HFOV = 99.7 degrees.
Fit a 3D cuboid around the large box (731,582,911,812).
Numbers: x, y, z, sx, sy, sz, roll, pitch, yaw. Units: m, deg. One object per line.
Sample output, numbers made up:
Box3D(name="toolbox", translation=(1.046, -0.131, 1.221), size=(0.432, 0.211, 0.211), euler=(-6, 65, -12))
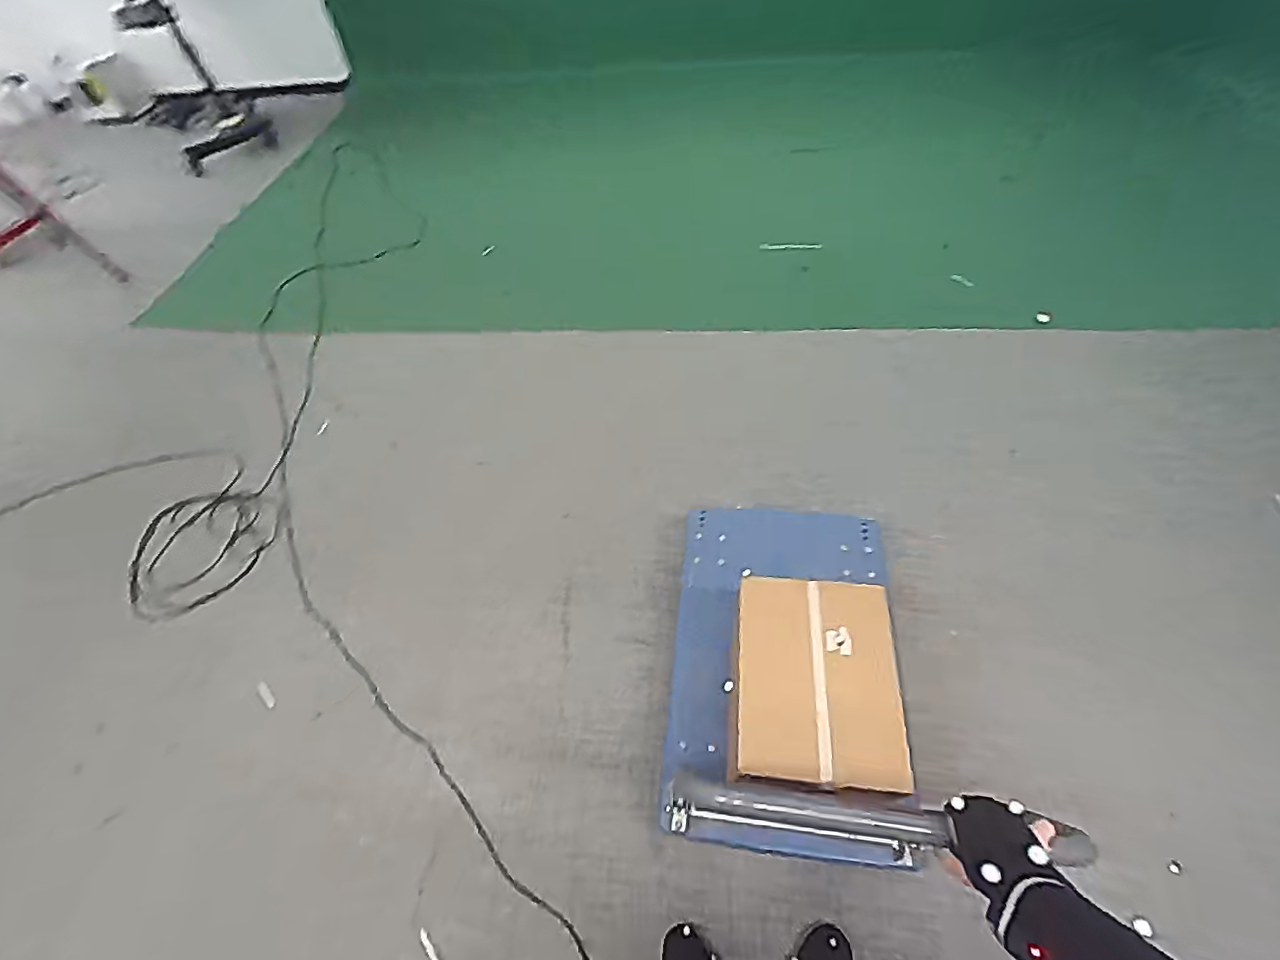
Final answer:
Box3D(name="large box", translation=(0.365, 0.486, 1.213), size=(0.320, 0.320, 0.408), euler=(3, 54, 7))
